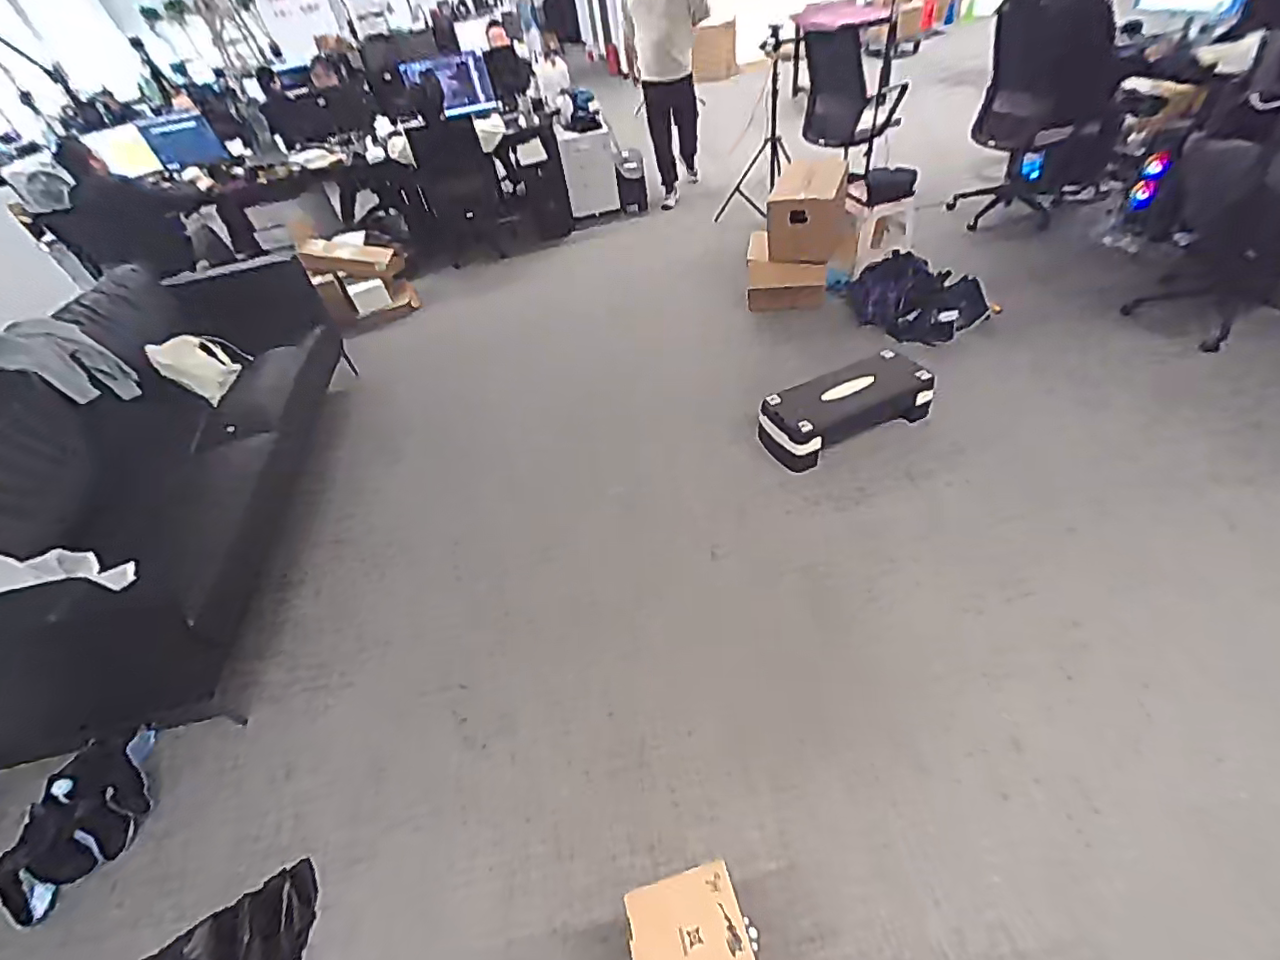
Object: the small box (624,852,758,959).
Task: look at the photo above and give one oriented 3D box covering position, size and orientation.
[{"bbox_3d":[0.089,0.748,0.886,0.179,0.176,0.168,-17,43,-3],"label":"small box"}]
